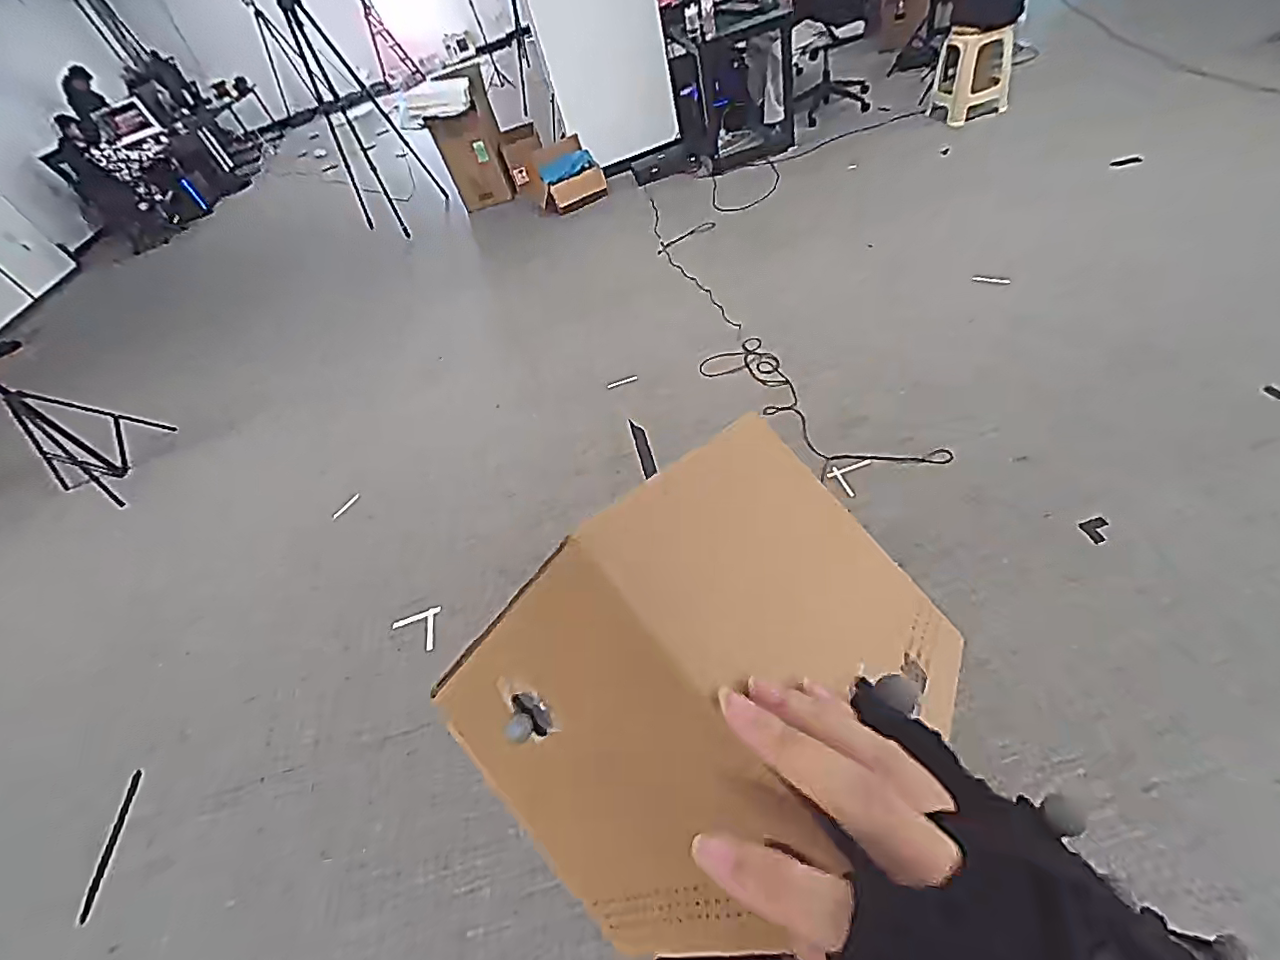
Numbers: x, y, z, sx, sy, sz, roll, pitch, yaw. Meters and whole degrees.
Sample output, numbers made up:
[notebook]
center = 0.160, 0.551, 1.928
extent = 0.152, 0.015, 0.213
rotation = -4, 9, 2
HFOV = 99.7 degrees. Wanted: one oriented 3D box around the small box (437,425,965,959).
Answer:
[small box]
center = 0.030, 0.106, 0.289
extent = 0.176, 0.179, 0.168
rotation = 48, 40, 6
